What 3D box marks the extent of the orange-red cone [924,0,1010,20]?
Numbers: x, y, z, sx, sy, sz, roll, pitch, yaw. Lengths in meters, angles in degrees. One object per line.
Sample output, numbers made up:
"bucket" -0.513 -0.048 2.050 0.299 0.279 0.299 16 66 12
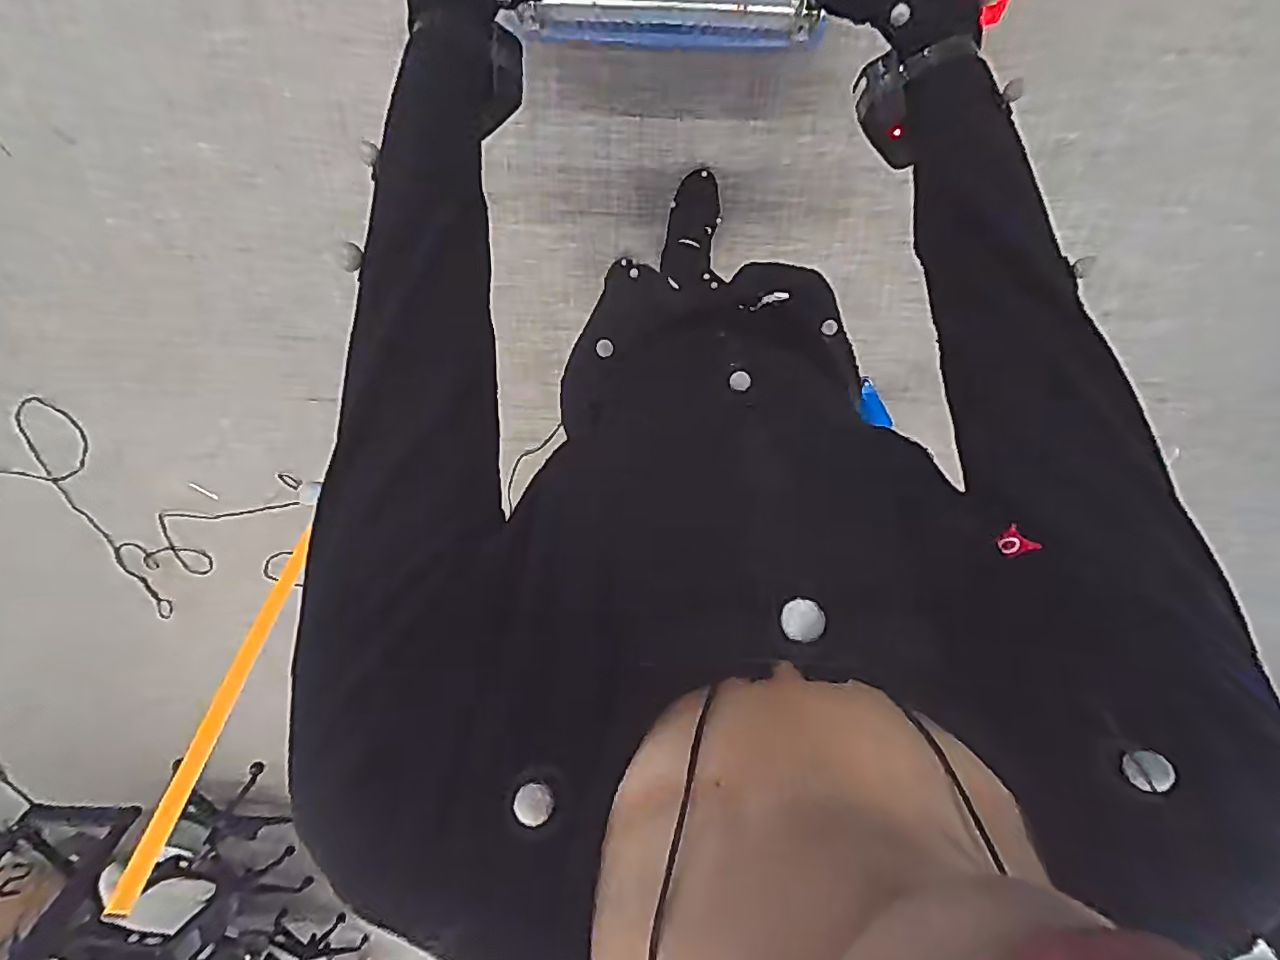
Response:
"orange-red cone" 0.629 -0.909 0.862 0.198 0.360 0.199 12 122 -5
